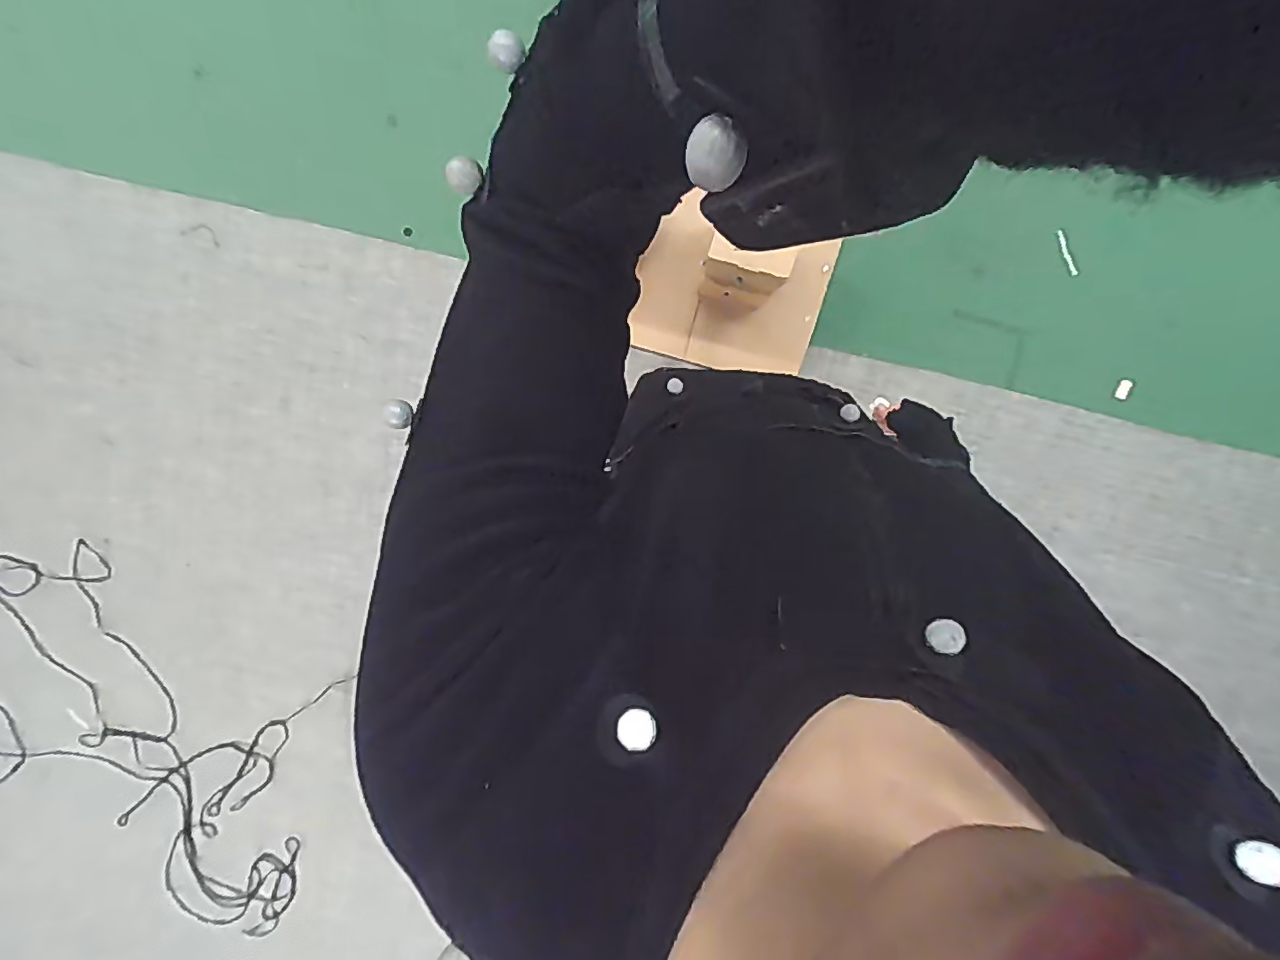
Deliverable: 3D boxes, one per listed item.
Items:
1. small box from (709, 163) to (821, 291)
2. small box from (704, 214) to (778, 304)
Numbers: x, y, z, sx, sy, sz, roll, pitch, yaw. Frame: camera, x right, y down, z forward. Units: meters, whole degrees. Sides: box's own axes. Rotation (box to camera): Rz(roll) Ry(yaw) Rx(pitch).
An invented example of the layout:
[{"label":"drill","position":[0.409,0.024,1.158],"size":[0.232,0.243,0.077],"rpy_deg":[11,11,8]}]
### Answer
[{"label":"small box","position":[0.241,-0.502,1.097],"size":[0.168,0.176,0.179],"rpy_deg":[16,102,1]},{"label":"small box","position":[0.249,-0.524,1.262],"size":[0.168,0.176,0.179],"rpy_deg":[14,102,1]}]
